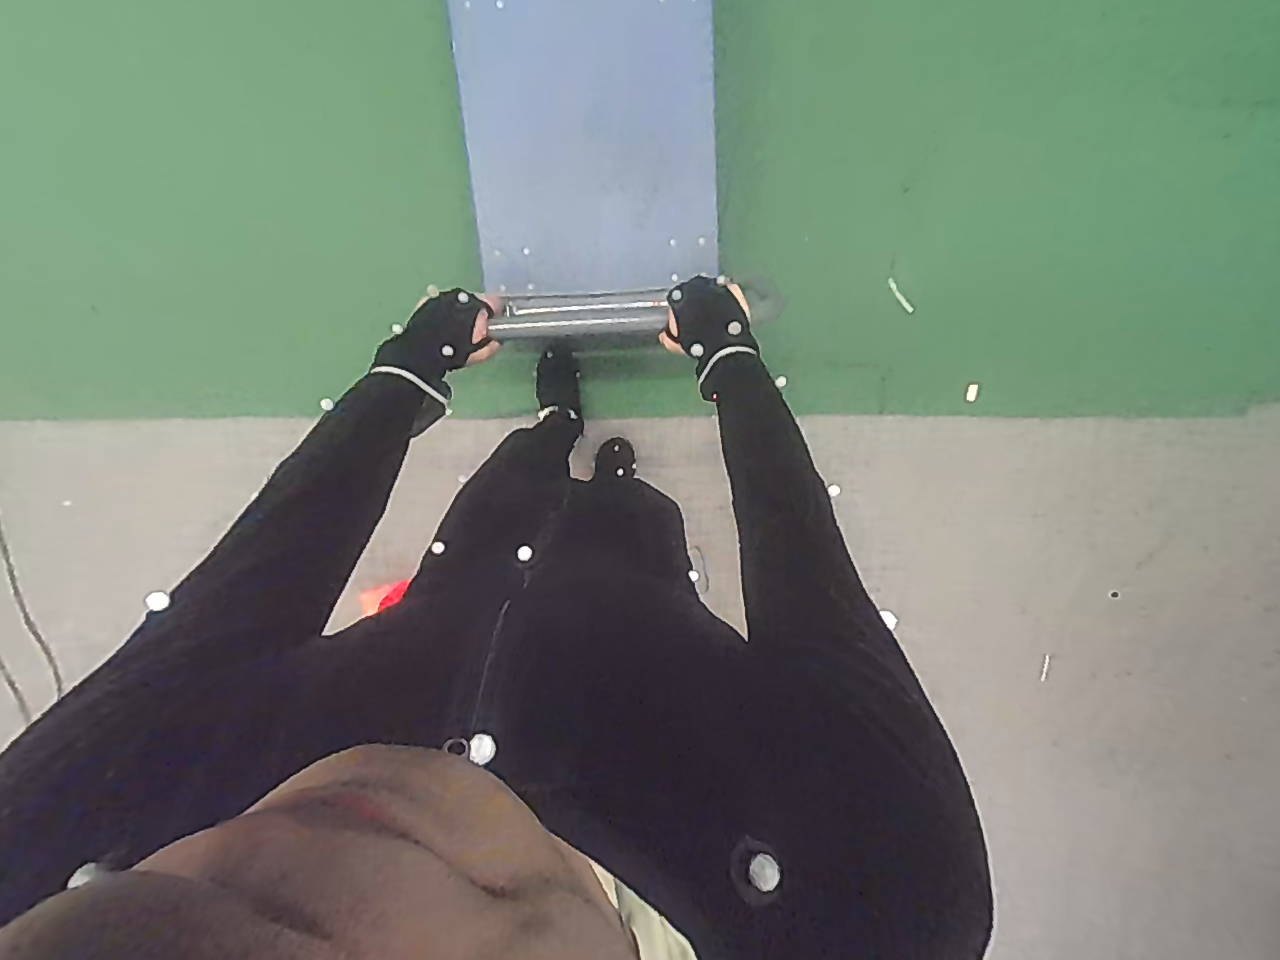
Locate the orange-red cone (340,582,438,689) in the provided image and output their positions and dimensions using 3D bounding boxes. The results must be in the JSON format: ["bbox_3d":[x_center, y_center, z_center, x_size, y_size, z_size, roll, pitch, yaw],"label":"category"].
[{"bbox_3d":[-0.730,0.458,1.498,0.199,0.360,0.198,-14,104,1],"label":"orange-red cone"}]
